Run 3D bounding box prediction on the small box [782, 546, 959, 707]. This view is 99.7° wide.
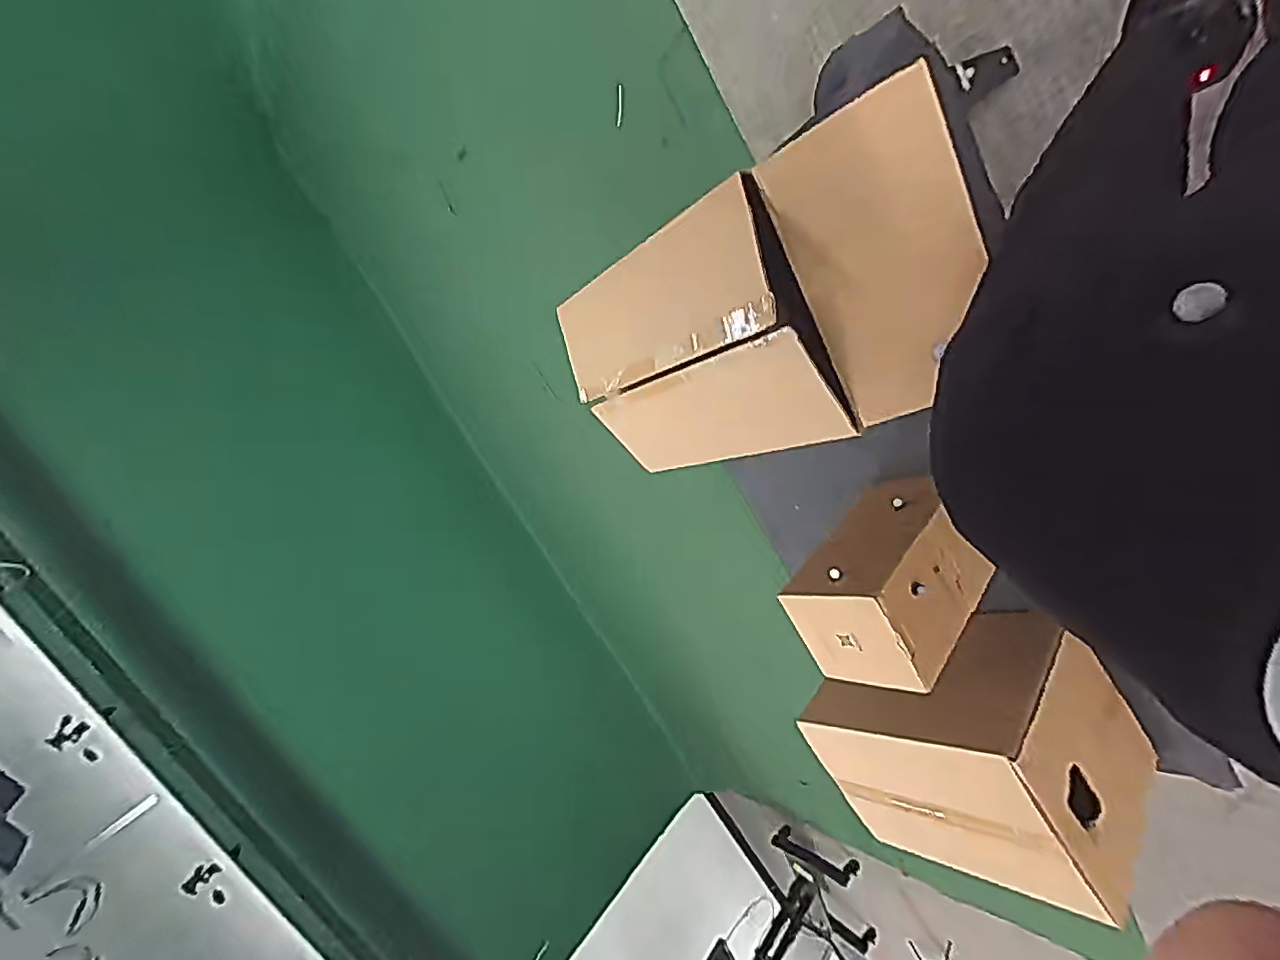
[{"bbox_3d":[0.364,0.217,0.842,0.168,0.176,0.179,57,148,-9],"label":"small box"}]
